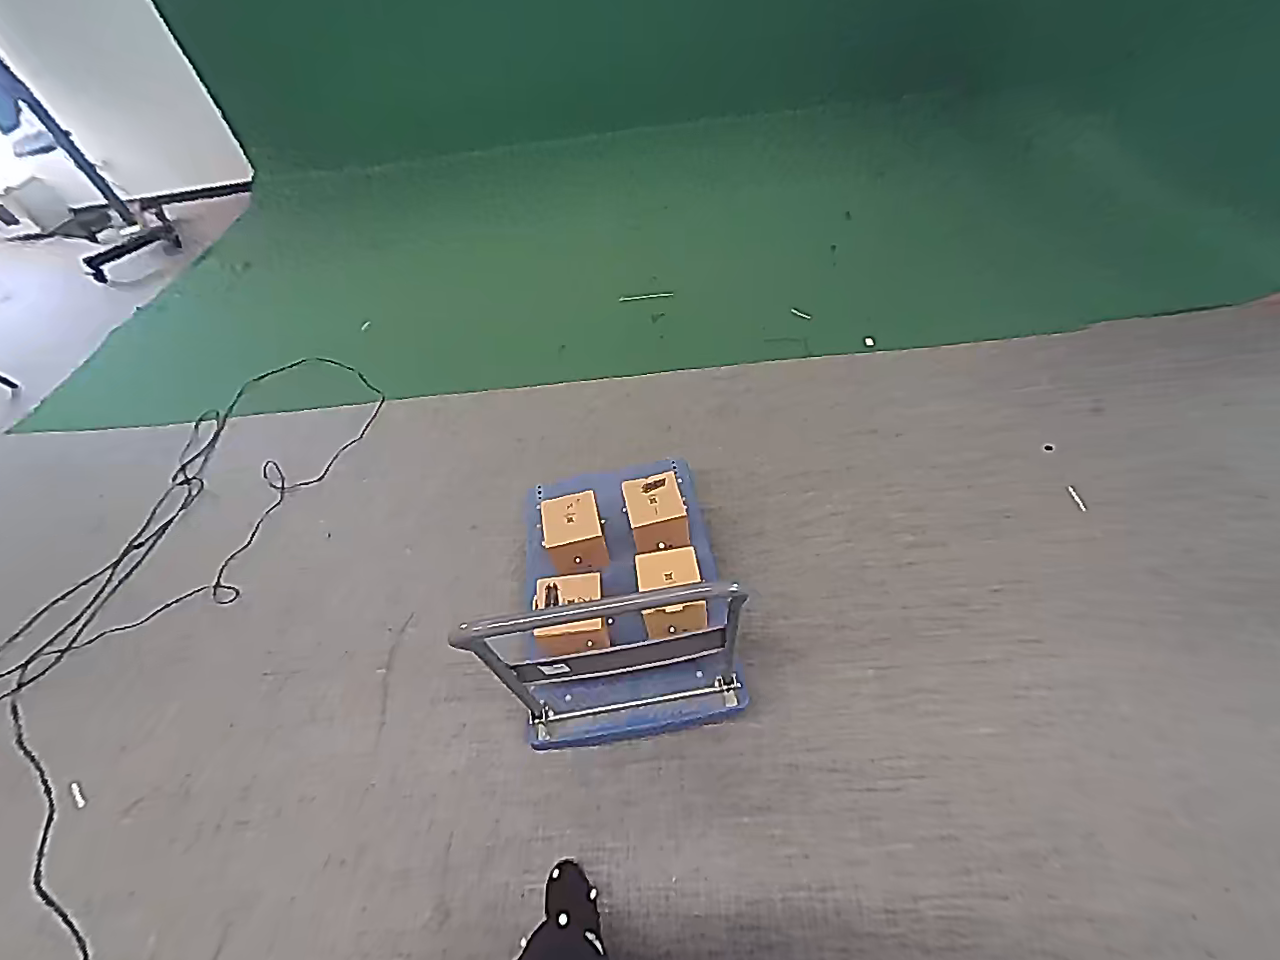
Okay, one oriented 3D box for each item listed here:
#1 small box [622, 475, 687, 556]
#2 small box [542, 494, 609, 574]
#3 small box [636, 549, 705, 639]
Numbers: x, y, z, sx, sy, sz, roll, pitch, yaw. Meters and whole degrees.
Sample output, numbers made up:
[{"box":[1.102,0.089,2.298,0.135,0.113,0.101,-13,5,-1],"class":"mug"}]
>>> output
[{"box":[0.047,0.114,1.679,0.168,0.176,0.179,-13,51,-1],"class":"small box"},{"box":[-0.198,0.173,1.668,0.168,0.176,0.179,-12,50,-3],"class":"small box"},{"box":[0.084,0.319,1.506,0.168,0.176,0.179,-9,50,1],"class":"small box"}]
